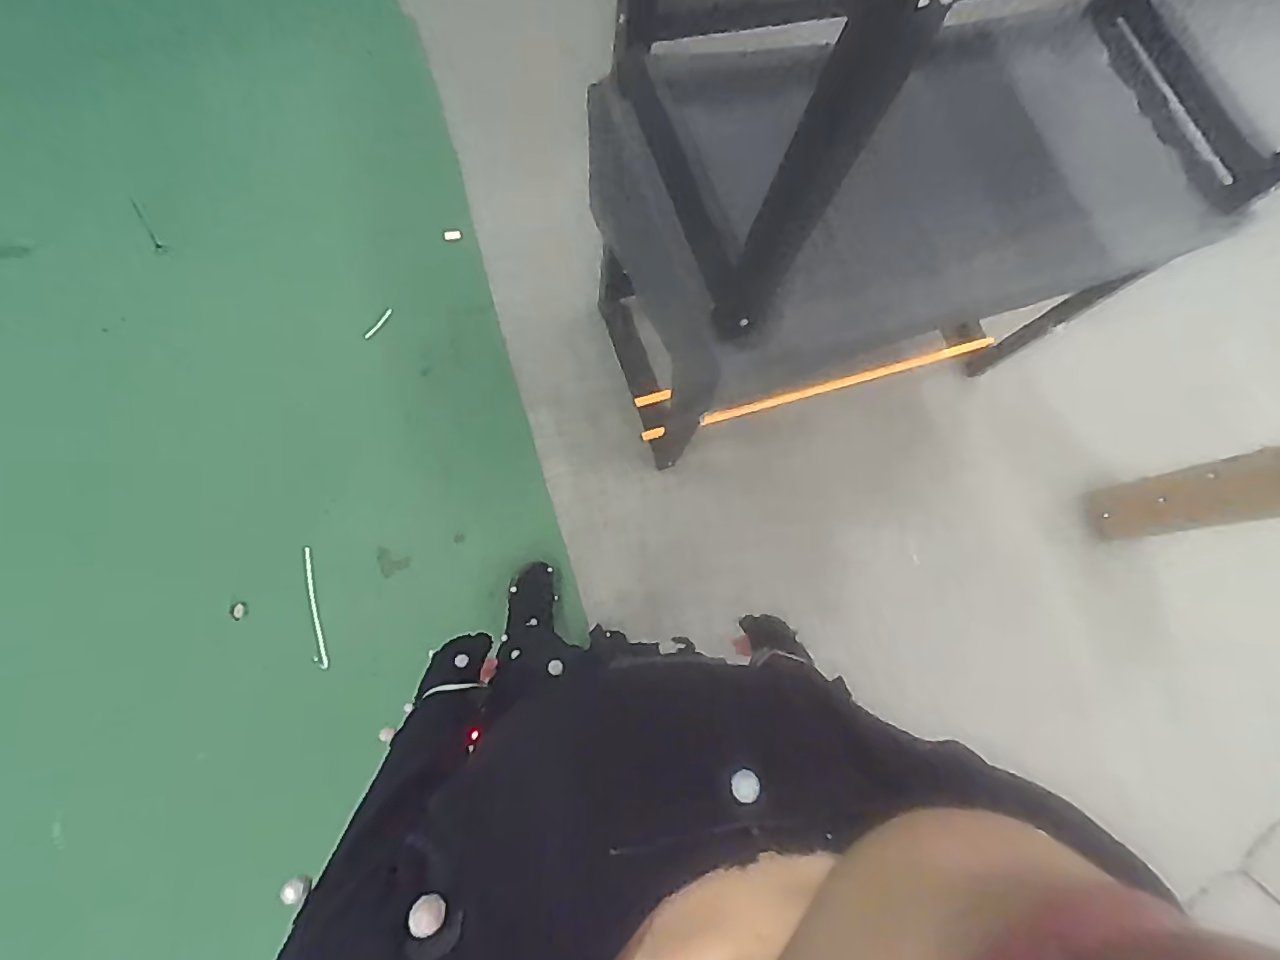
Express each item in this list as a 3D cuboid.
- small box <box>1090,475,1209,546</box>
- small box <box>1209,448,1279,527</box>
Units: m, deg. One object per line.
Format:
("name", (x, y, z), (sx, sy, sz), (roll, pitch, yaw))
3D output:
("small box", (1.540, 0.096, 1.645), (0.179, 0.176, 0.168), (-11, 76, -9))
("small box", (1.576, 0.009, 1.333), (0.179, 0.176, 0.168), (-13, 77, -10))
